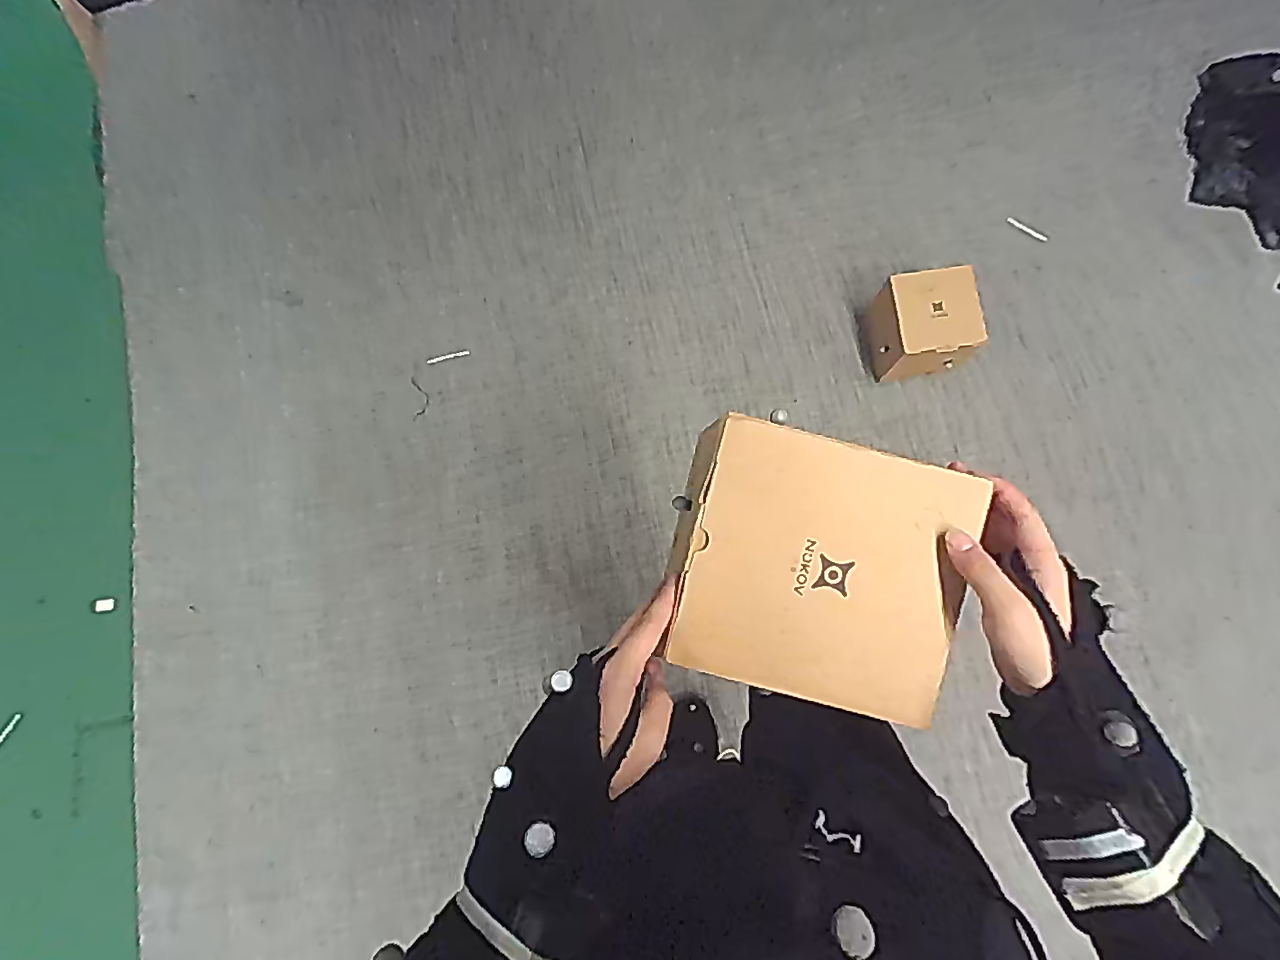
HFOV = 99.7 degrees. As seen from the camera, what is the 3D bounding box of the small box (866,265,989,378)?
[{"bbox_3d":[0.606,-0.329,1.161,0.168,0.176,0.179,-7,79,3],"label":"small box"}]
